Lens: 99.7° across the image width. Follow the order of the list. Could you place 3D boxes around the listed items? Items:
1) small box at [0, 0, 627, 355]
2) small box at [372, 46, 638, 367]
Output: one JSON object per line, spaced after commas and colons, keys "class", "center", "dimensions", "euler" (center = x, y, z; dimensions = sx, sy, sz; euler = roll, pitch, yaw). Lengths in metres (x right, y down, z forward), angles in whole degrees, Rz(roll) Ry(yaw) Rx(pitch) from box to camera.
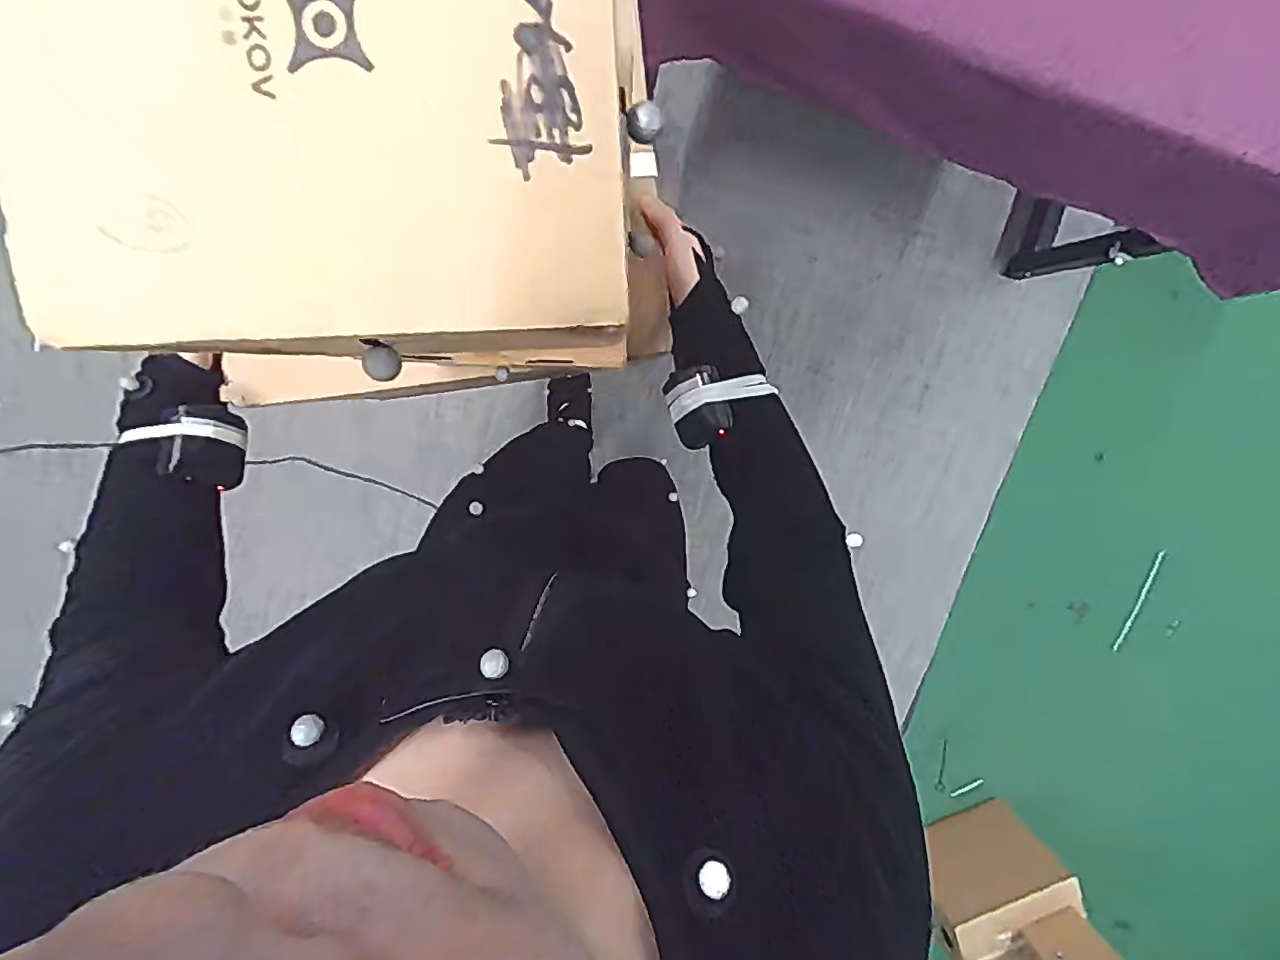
{"class": "small box", "center": [-0.096, -0.140, 0.229], "dimensions": [0.179, 0.176, 0.168], "euler": [-3, 103, -2]}
{"class": "small box", "center": [-0.091, -0.174, 0.390], "dimensions": [0.168, 0.176, 0.179], "euler": [1, 103, -3]}
